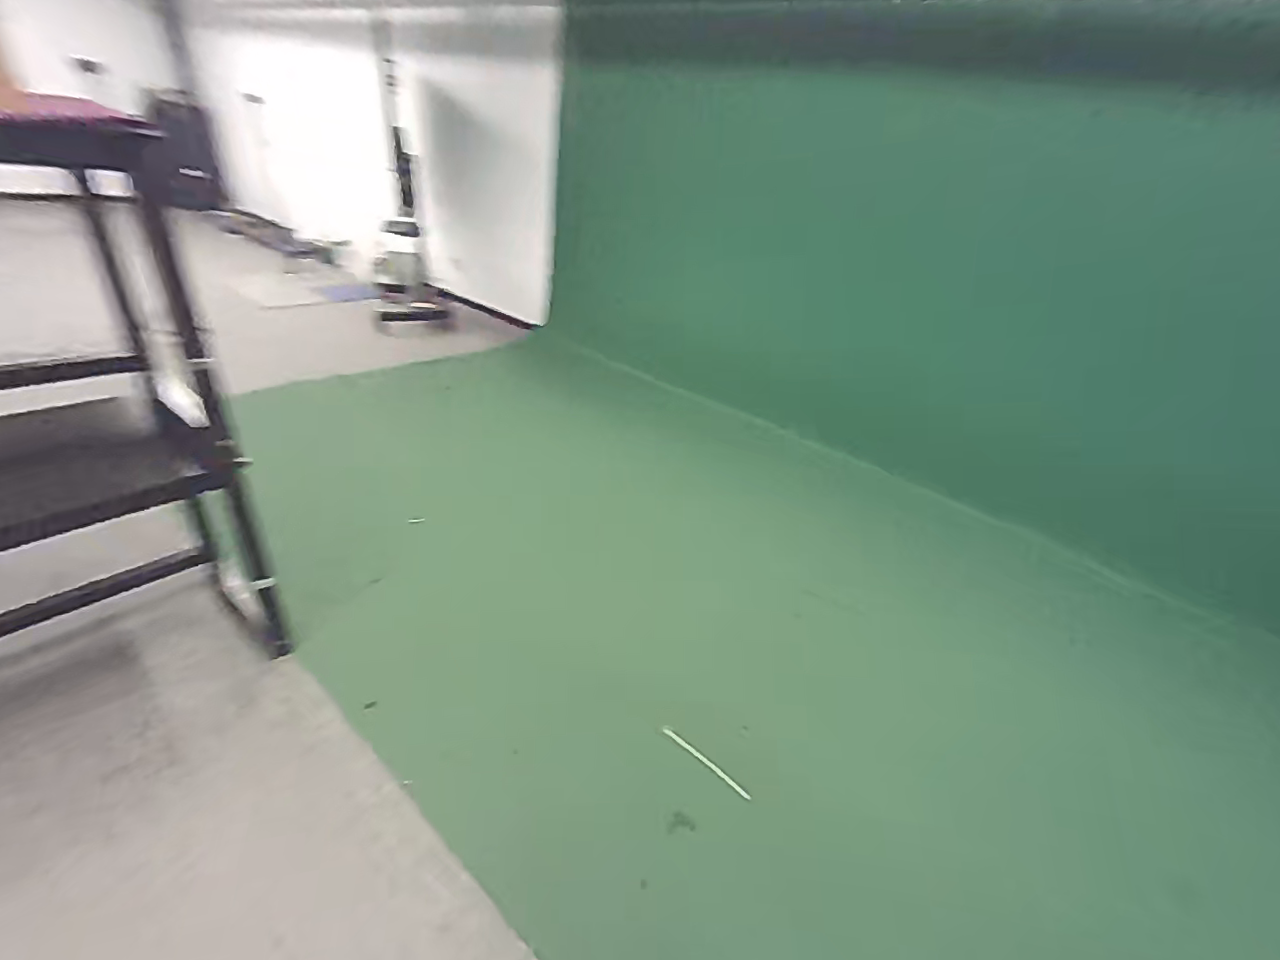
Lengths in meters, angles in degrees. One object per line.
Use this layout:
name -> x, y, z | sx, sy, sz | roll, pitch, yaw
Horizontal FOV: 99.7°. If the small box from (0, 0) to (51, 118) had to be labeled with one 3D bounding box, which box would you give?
small box -> -1.168, -0.721, 0.914 | 0.168, 0.176, 0.179 | 27, 37, 31
